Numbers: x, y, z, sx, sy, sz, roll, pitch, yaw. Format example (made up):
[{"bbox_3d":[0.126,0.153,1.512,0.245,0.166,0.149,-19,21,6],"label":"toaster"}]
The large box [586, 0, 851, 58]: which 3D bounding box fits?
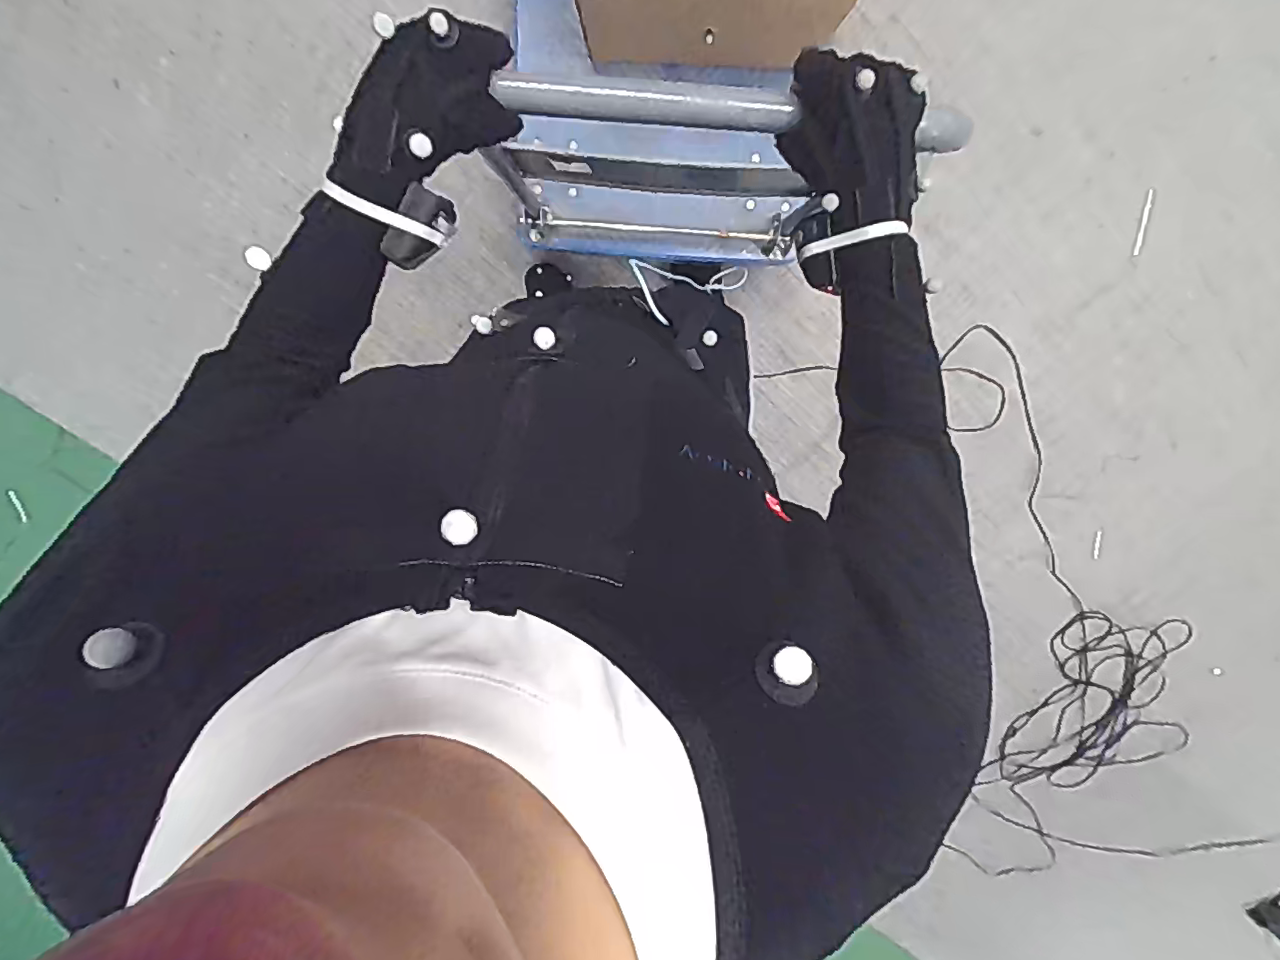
[{"bbox_3d":[0.121,-0.873,0.810,0.408,0.320,0.320,1,109,2],"label":"large box"}]
